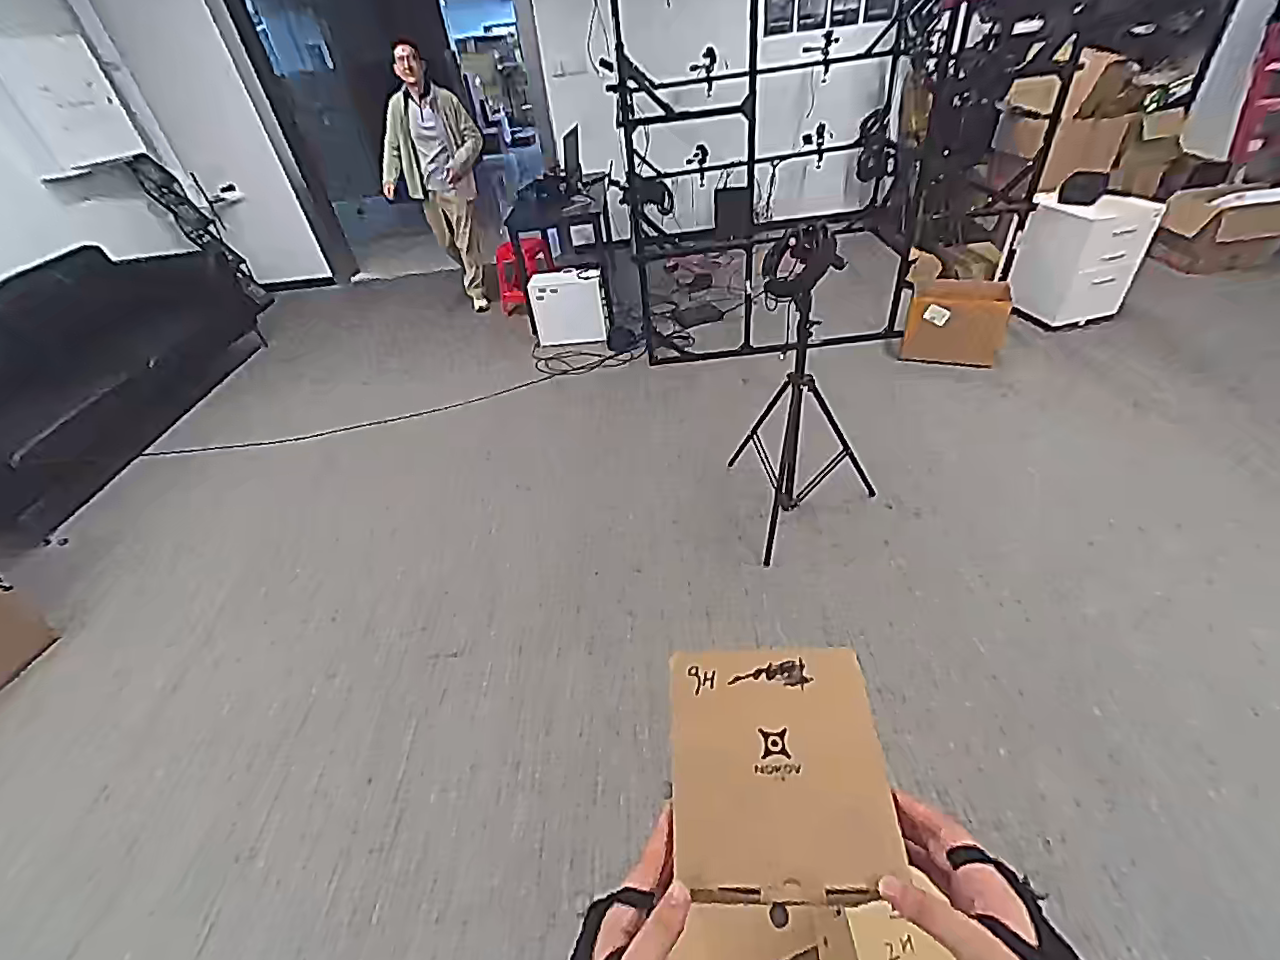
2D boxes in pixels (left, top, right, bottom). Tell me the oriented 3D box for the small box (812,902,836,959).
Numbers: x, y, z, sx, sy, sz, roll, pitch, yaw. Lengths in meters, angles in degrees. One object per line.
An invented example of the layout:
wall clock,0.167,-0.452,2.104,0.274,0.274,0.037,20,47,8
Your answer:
small box,0.420,0.874,0.994,0.168,0.176,0.179,-4,40,6

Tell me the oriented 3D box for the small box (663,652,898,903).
small box,0.109,0.273,0.493,0.168,0.176,0.179,-3,51,5

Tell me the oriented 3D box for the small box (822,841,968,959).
small box,0.408,0.736,0.901,0.168,0.176,0.179,-6,39,2
